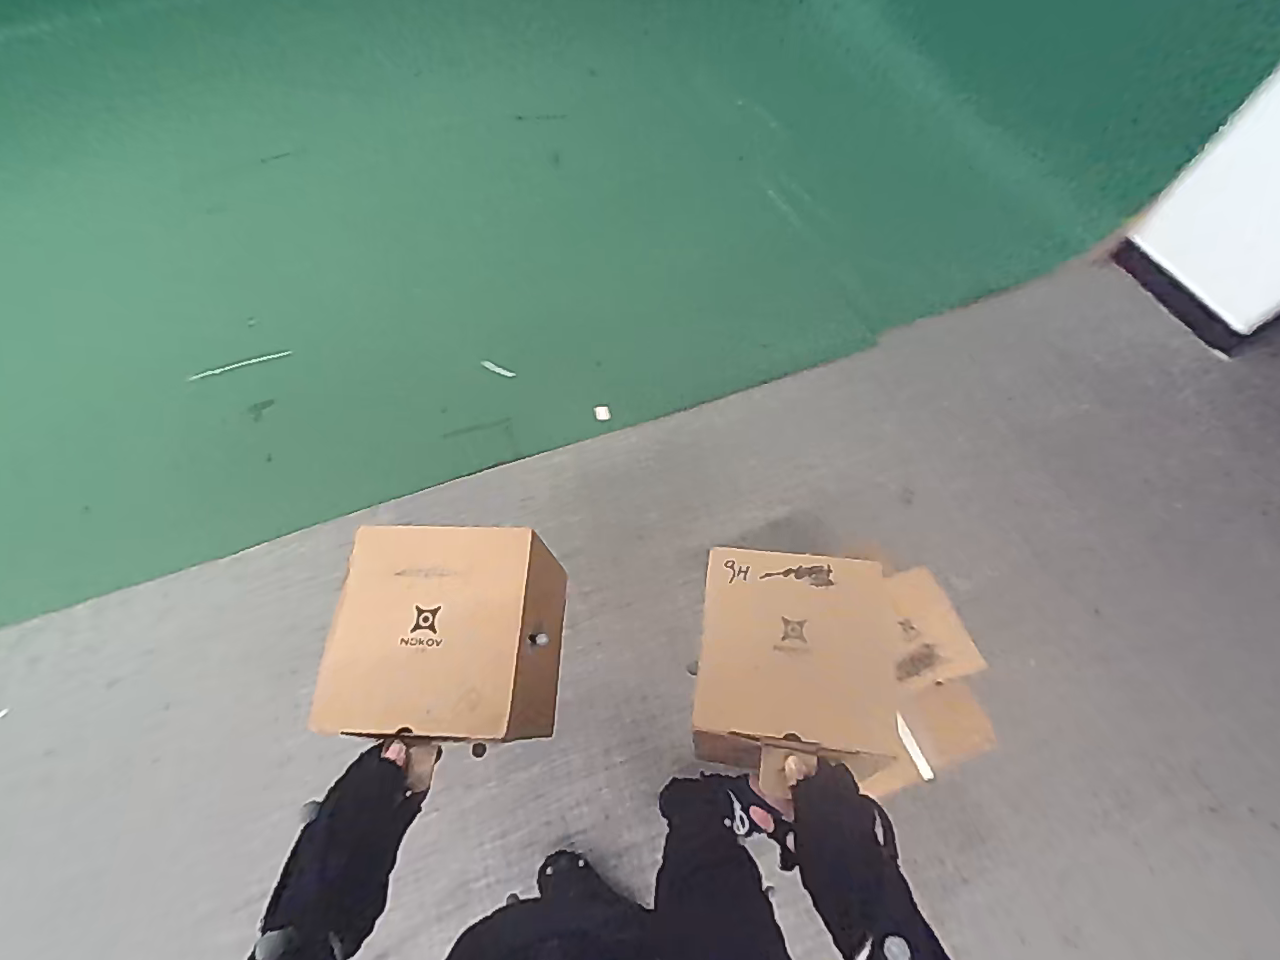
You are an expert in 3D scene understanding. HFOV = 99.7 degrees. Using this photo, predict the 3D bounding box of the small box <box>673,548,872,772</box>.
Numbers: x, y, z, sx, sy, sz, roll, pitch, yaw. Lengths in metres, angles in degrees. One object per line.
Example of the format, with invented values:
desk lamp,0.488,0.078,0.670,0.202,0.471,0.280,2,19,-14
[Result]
small box,0.130,0.190,0.558,0.168,0.176,0.179,3,57,9

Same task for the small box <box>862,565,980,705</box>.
small box,0.433,0.273,0.938,0.168,0.176,0.179,-22,66,-2

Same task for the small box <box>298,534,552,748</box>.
small box,-0.188,0.161,0.534,0.168,0.176,0.179,-1,66,4
